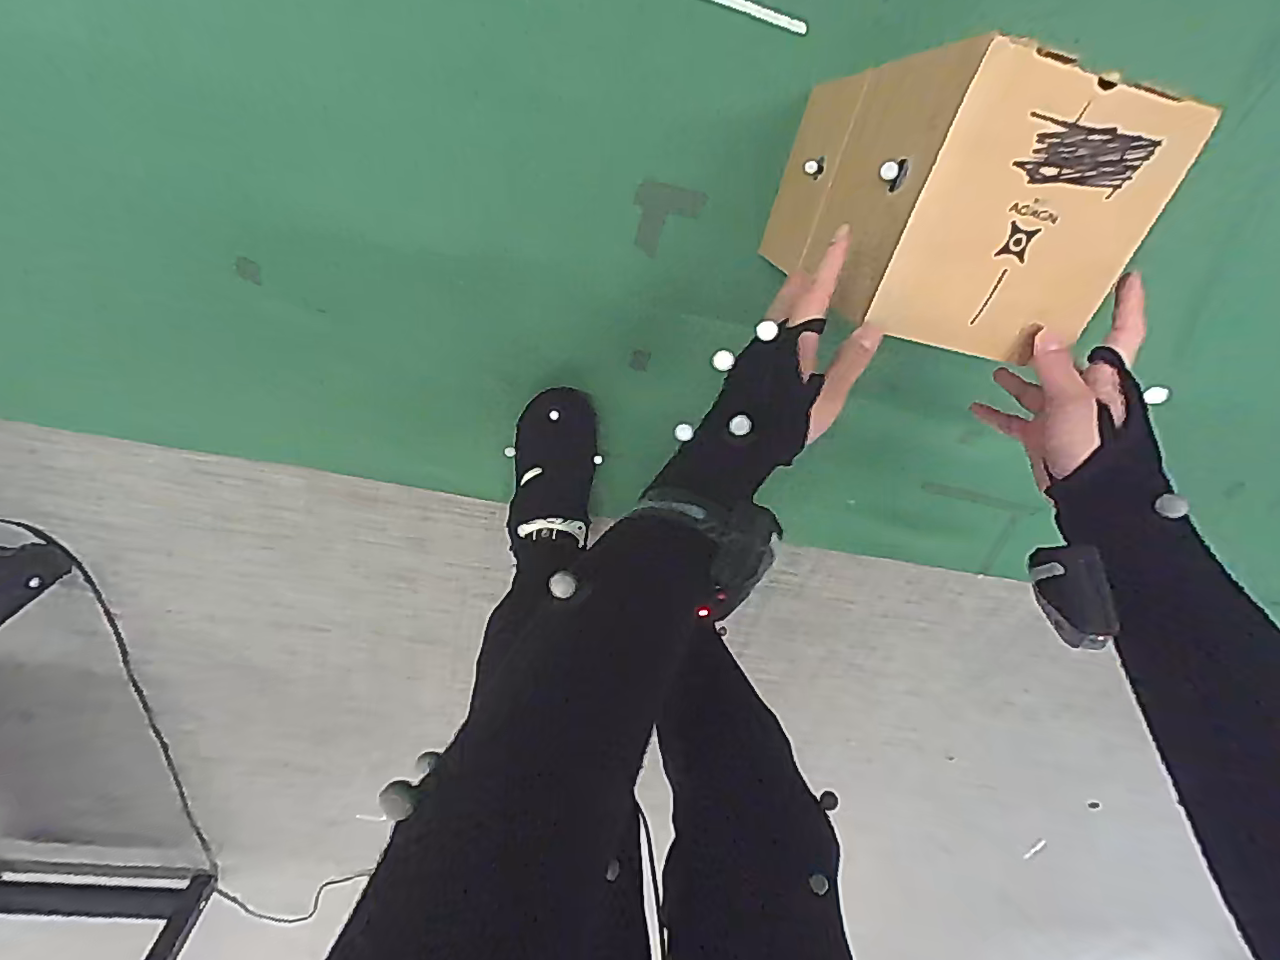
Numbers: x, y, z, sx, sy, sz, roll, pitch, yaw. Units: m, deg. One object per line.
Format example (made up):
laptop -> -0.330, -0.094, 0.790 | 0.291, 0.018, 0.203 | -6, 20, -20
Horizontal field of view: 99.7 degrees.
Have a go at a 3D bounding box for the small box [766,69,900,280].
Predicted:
small box -> 0.252, -0.299, 0.578 | 0.168, 0.176, 0.179 | 12, 120, -9

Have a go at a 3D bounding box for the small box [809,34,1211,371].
small box -> 0.261, -0.214, 0.438 | 0.168, 0.176, 0.179 | 11, 120, -9
